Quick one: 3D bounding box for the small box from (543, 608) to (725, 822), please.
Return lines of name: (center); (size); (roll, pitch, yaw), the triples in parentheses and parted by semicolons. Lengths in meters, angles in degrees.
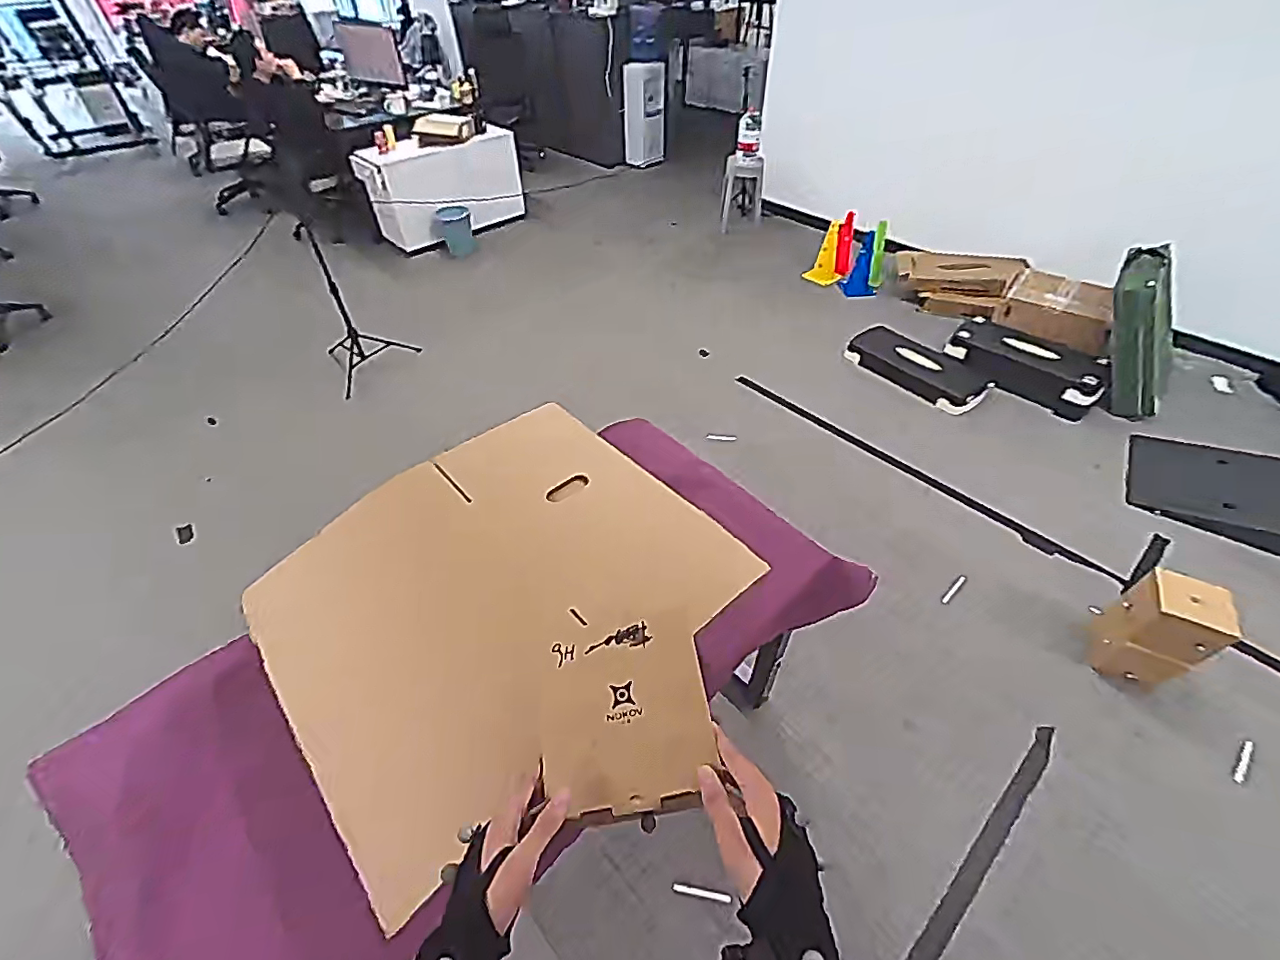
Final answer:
small box: (-0.002, 0.265, 0.599); (0.168, 0.176, 0.179); (-11, 56, 1)
